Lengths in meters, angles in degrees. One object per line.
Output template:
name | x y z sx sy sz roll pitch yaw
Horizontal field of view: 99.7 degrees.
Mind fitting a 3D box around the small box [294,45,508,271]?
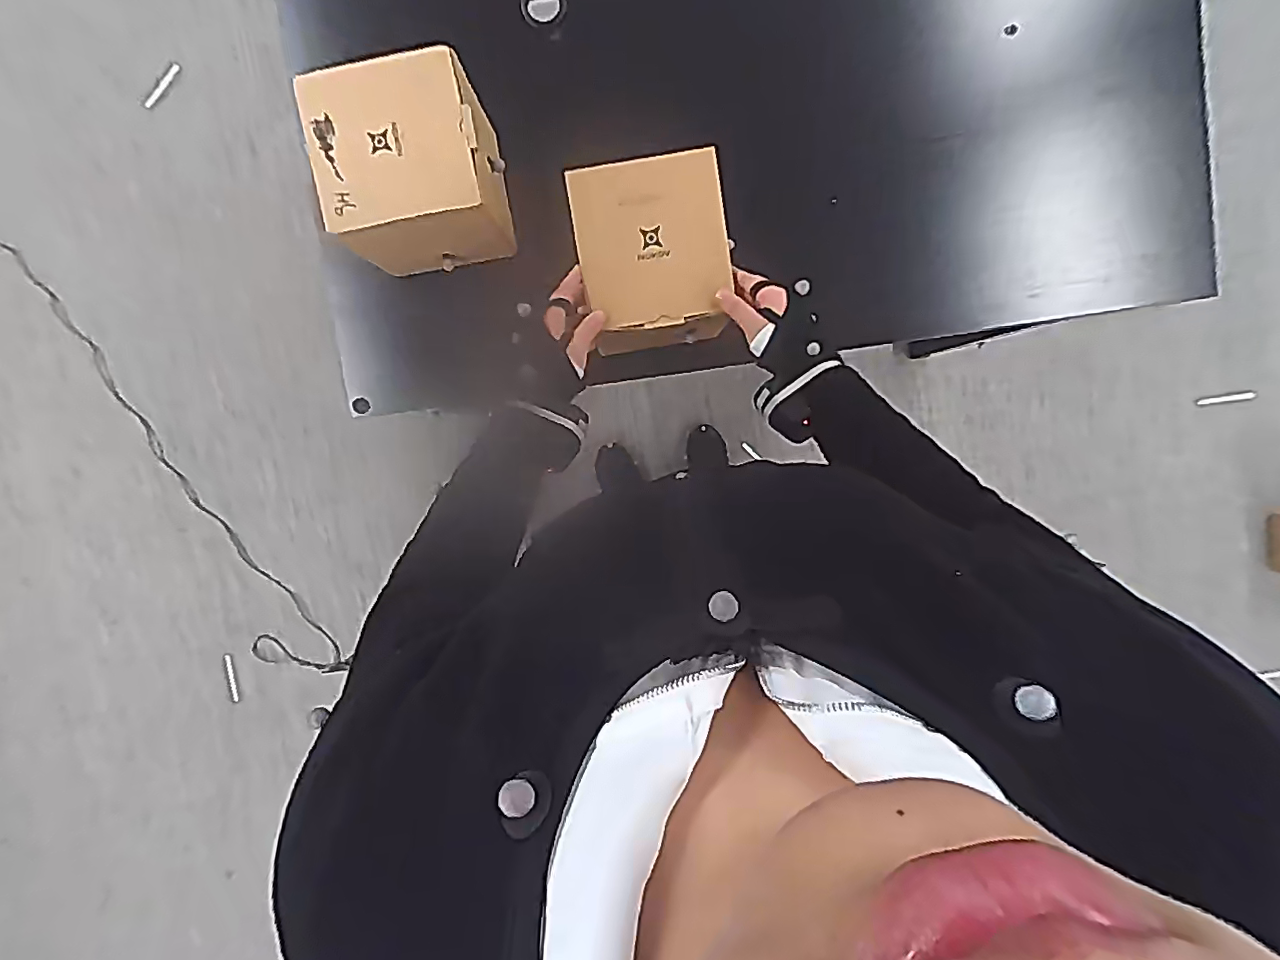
small box | -0.267 -0.370 0.653 0.179 0.176 0.168 -10 95 0

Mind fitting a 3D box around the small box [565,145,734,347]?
small box | 0.011 -0.268 0.665 0.168 0.176 0.179 -10 94 0
